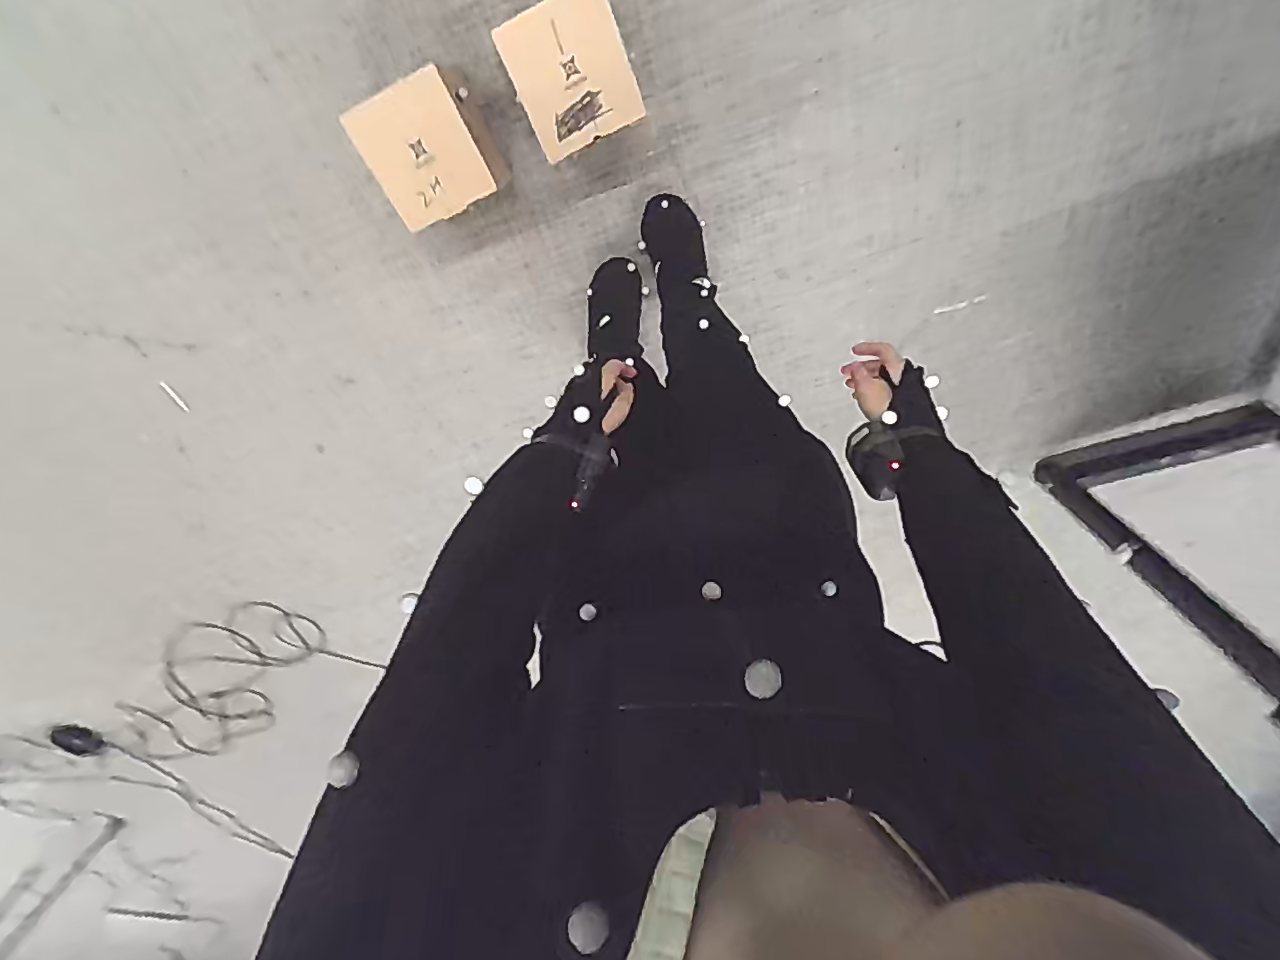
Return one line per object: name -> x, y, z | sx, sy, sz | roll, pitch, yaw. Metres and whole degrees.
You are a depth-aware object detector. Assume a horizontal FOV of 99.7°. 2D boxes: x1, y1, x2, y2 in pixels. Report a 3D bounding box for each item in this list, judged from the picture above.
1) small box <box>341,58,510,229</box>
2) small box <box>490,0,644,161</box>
small box -> -0.333, -0.542, 0.877 | 0.168, 0.176, 0.179 | -20, 125, 12
small box -> -0.103, -0.626, 0.832 | 0.168, 0.176, 0.179 | -21, 124, 10
